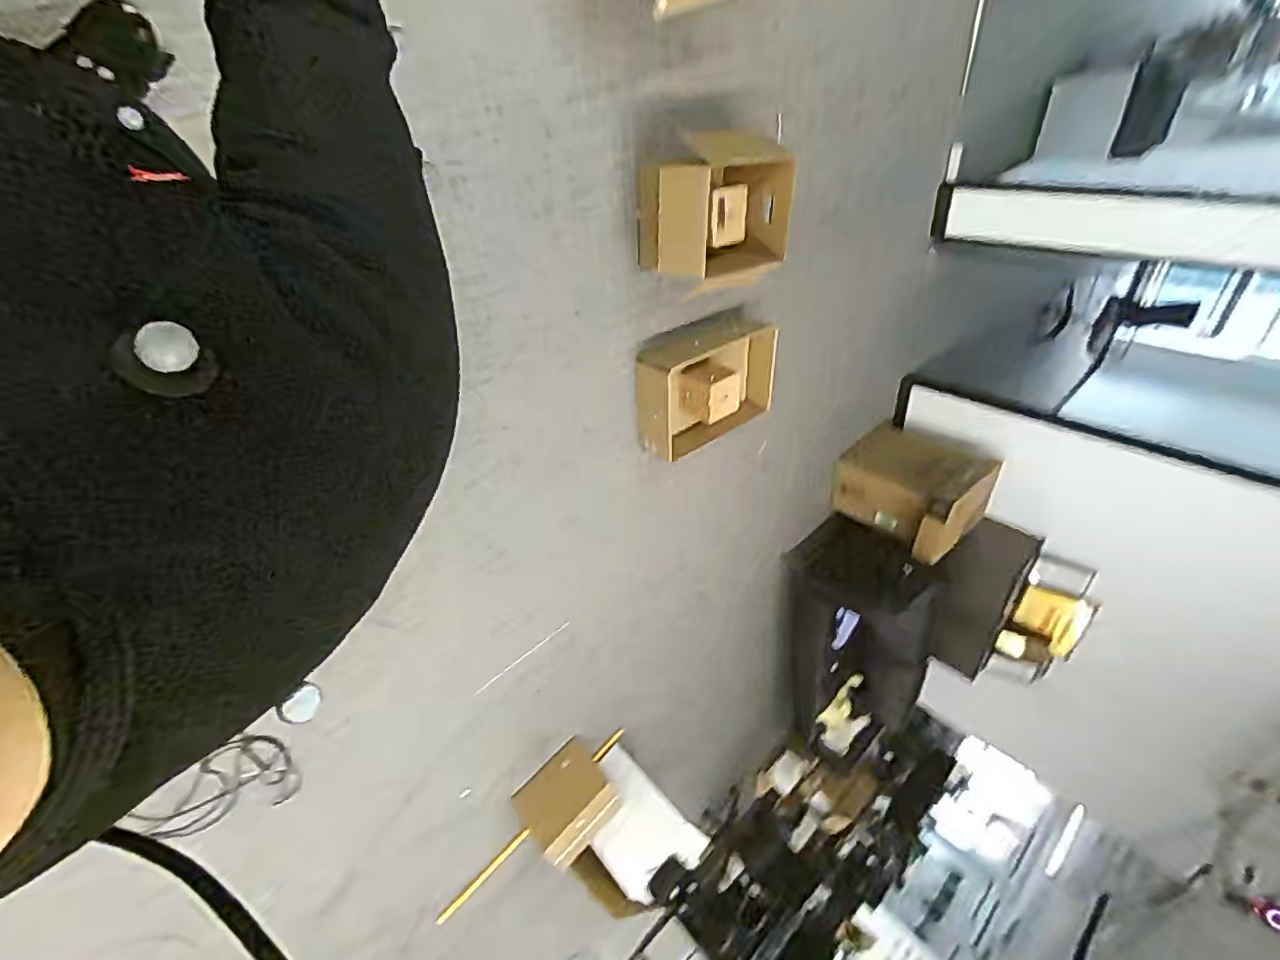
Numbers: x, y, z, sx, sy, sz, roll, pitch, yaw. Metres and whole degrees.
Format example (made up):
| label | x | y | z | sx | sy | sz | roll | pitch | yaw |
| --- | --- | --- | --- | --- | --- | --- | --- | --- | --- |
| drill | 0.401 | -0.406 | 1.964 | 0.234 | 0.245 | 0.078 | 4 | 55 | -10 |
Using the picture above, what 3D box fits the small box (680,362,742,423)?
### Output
| label | x | y | z | sx | sy | sz | roll | pitch | yaw |
| --- | --- | --- | --- | --- | --- | --- | --- | --- | --- |
| small box | 0.280 | -0.354 | 2.147 | 0.179 | 0.176 | 0.168 | -29 | 133 | -31 |
